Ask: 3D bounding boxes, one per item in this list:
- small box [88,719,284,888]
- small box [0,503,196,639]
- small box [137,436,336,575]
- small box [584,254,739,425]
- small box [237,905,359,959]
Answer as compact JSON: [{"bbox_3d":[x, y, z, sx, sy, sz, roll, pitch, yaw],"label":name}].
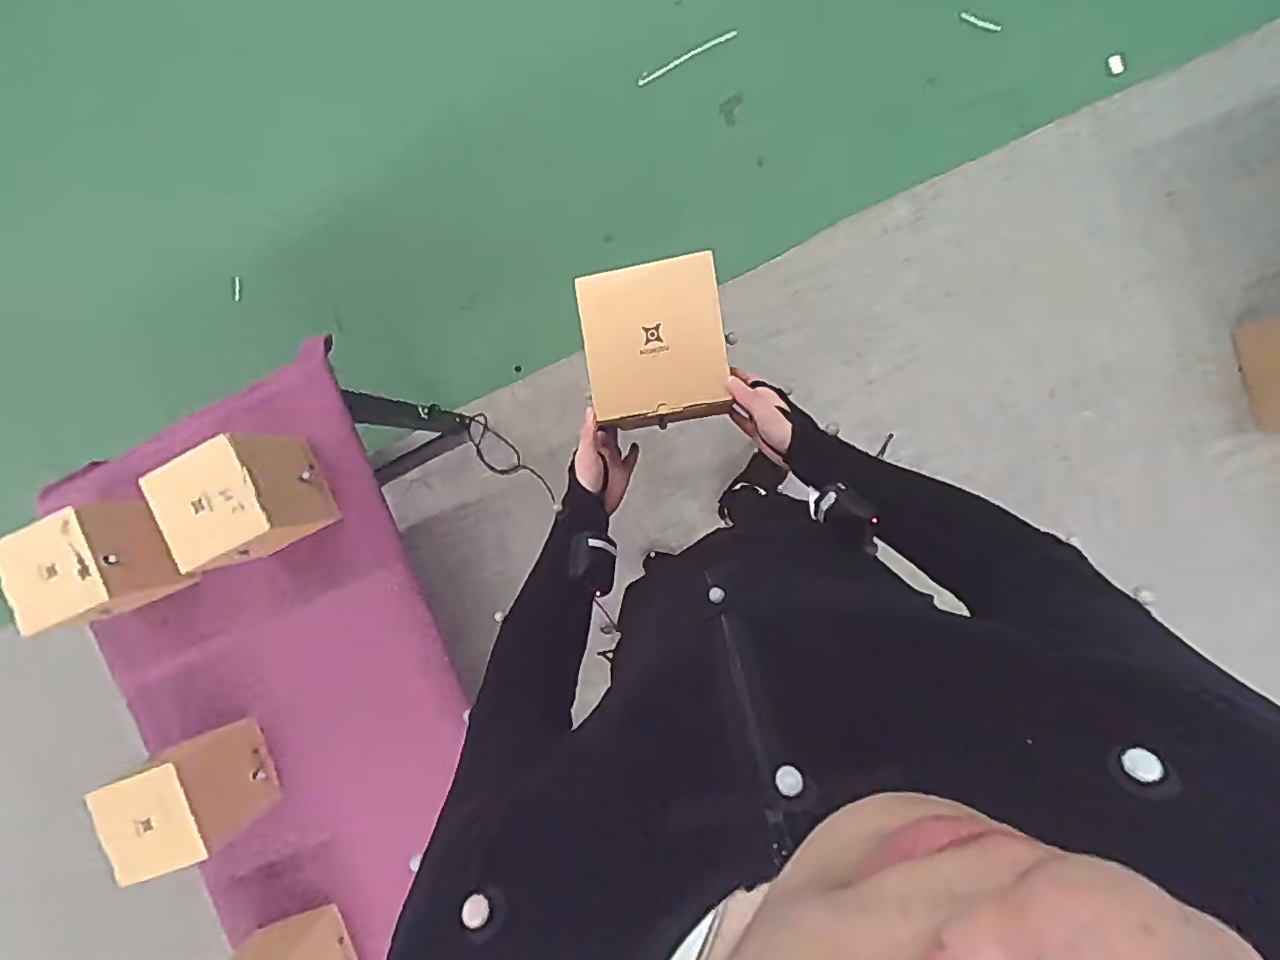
[{"bbox_3d":[-0.781,0.554,0.947,0.179,0.176,0.168,-21,91,5],"label":"small box"},{"bbox_3d":[-0.945,0.150,0.944,0.179,0.176,0.168,-23,91,6],"label":"small box"},{"bbox_3d":[-0.663,0.037,0.908,0.179,0.176,0.168,-25,91,6],"label":"small box"},{"bbox_3d":[0.031,-0.170,0.711,0.168,0.176,0.179,-8,94,6],"label":"small box"},{"bbox_3d":[-0.618,0.895,0.941,0.179,0.176,0.168,-23,89,6],"label":"small box"}]
